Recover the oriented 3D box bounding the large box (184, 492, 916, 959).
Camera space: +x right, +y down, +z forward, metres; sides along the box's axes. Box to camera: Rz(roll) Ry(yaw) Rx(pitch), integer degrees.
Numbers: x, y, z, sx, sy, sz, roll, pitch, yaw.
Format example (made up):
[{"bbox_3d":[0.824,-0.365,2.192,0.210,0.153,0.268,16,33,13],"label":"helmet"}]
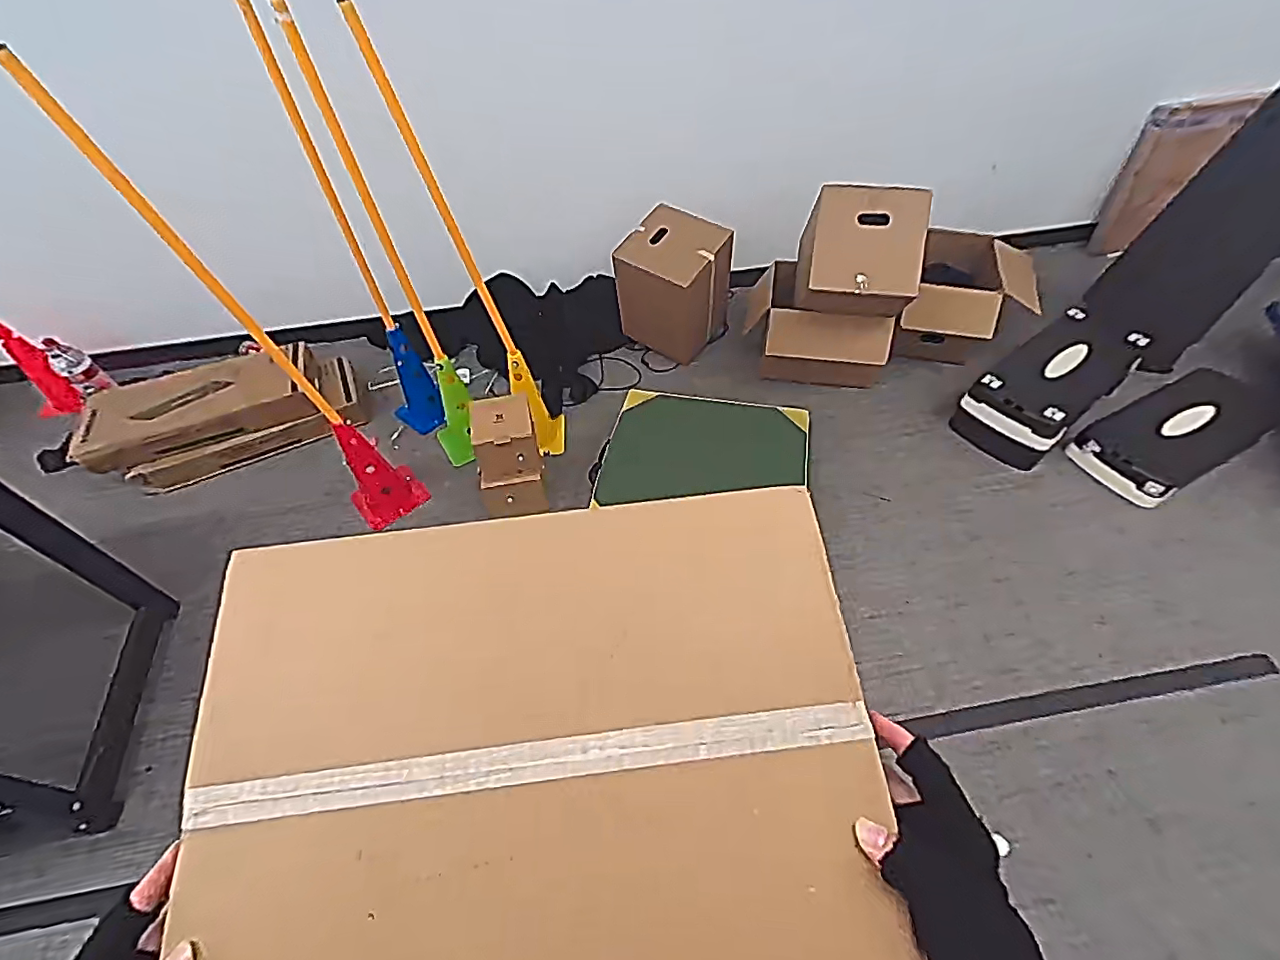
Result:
[{"bbox_3d":[-0.061,0.230,0.470,0.408,0.320,0.320,-6,68,-1],"label":"large box"}]
